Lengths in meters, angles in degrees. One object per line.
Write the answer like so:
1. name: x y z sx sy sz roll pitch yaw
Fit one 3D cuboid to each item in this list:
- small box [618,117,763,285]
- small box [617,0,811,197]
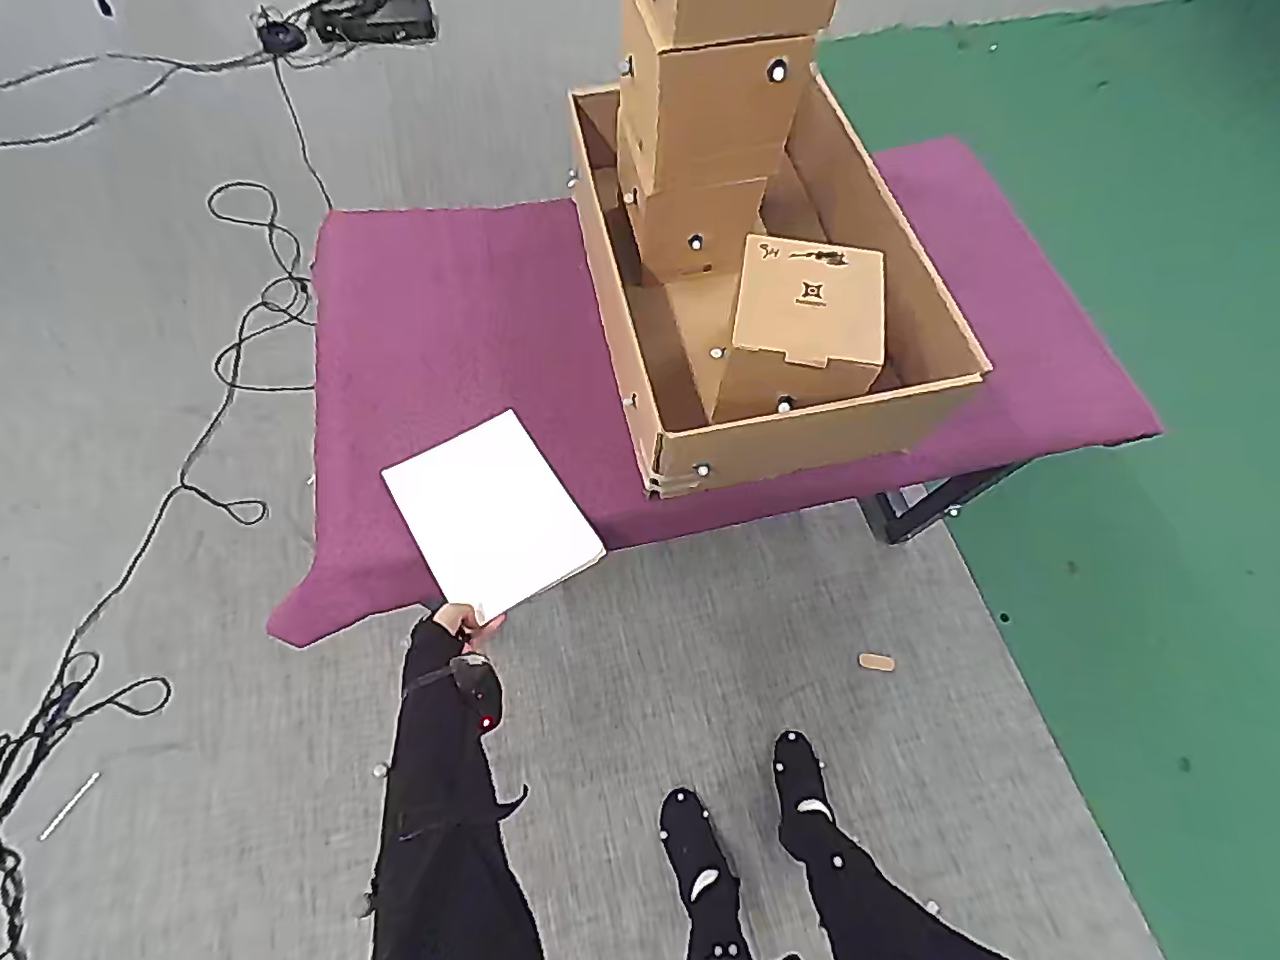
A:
1. small box: 0.065 -0.412 0.805 0.168 0.176 0.179 -11 68 -6
2. small box: 0.076 -0.474 0.656 0.179 0.176 0.168 -13 68 -8
